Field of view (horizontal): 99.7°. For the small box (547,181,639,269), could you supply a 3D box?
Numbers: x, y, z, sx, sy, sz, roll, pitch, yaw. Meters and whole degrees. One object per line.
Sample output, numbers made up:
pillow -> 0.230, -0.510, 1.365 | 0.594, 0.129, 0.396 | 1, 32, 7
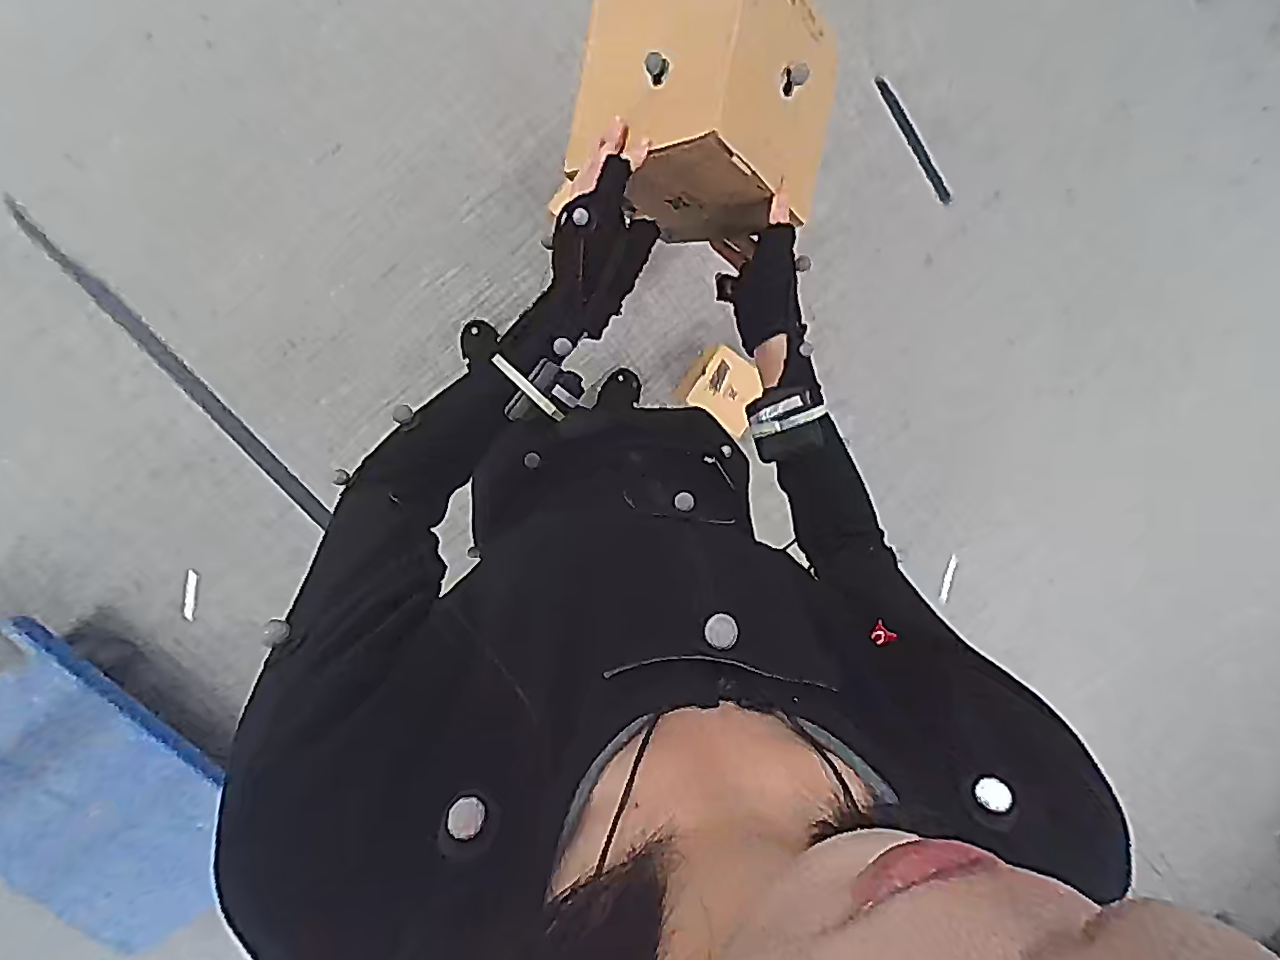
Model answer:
small box -> -0.101, -0.629, 1.291 | 0.179, 0.176, 0.168 | 39, 95, -12

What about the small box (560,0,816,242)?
small box -> 0.050, -0.348, 0.505 | 0.168, 0.179, 0.176 | 7, 94, -50

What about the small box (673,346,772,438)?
small box -> 0.206, -0.231, 1.416 | 0.179, 0.176, 0.168 | 33, 97, -13
